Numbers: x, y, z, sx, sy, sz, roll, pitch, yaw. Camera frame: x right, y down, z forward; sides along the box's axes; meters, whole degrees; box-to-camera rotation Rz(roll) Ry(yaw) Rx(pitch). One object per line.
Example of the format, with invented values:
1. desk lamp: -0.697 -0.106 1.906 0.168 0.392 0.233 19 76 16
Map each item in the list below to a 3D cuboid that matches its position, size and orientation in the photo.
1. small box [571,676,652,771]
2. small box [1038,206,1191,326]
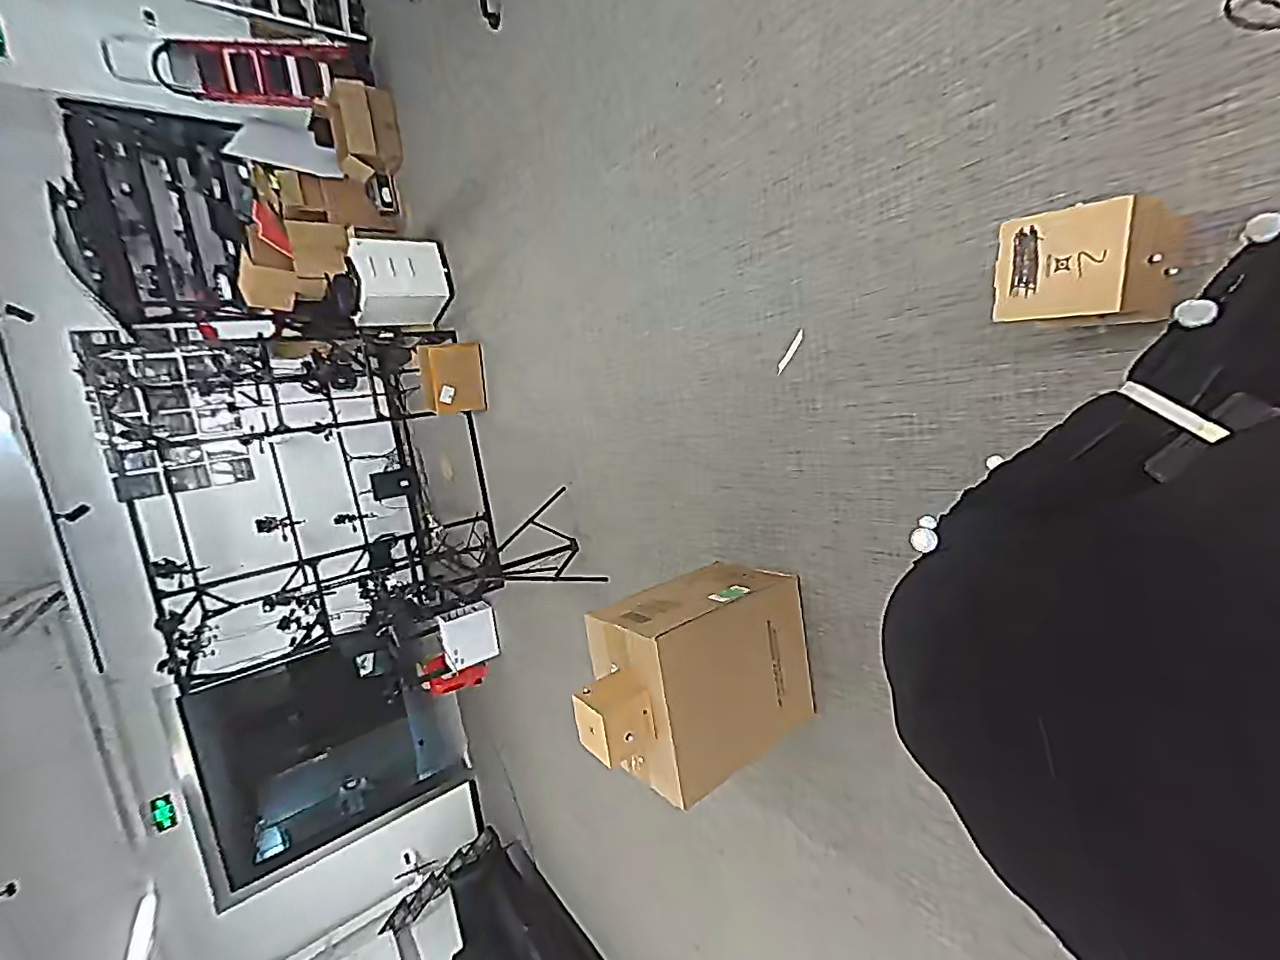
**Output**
1. small box: -0.077 0.697 1.575 0.179 0.176 0.168 3 105 55
2. small box: 0.857 -0.377 0.978 0.168 0.176 0.179 14 114 53
